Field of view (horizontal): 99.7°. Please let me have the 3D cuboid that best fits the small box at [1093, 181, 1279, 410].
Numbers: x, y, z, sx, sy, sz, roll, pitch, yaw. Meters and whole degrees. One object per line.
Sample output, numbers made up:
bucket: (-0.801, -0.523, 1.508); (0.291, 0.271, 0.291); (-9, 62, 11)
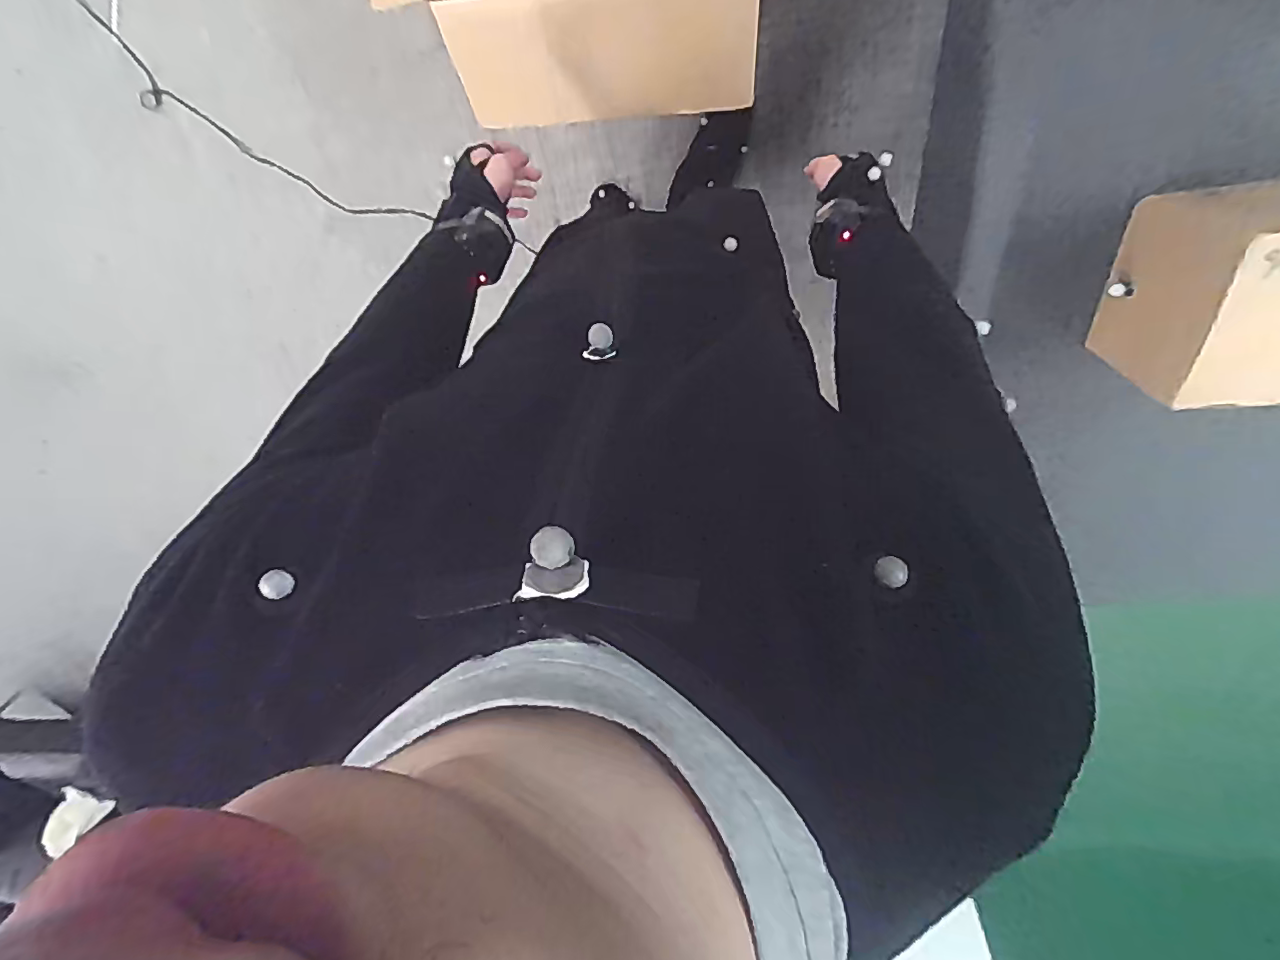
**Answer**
small box: (0.625, -0.193, 0.563); (0.168, 0.176, 0.179); (-3, 127, 10)
